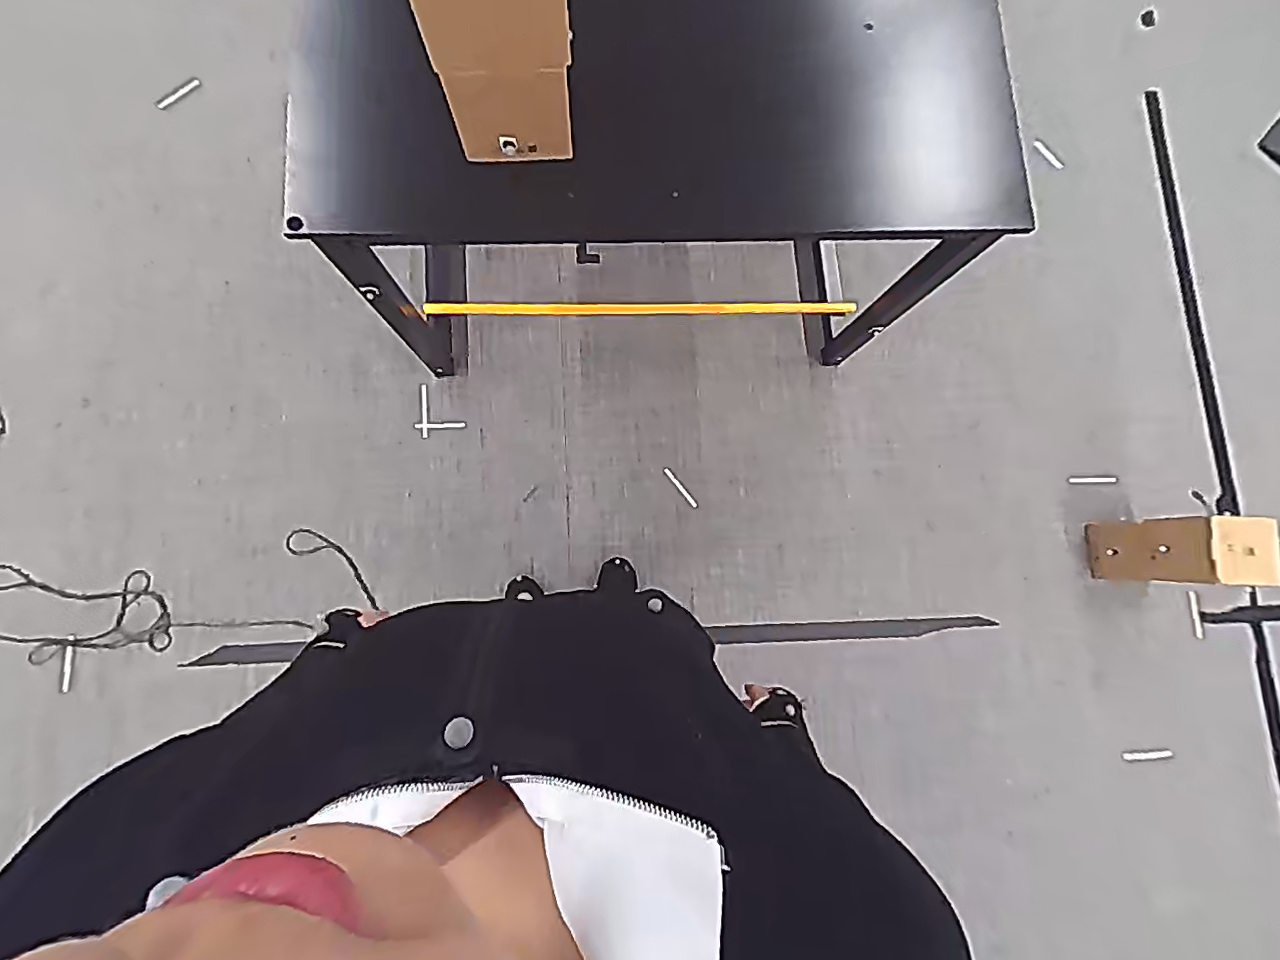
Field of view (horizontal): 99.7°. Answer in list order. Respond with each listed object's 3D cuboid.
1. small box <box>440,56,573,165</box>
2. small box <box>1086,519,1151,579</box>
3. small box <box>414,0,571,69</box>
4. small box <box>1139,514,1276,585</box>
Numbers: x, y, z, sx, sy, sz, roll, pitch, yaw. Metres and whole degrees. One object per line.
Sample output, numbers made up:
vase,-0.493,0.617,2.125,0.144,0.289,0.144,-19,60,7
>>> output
small box,-0.190,-0.599,0.788,0.168,0.176,0.179,-7,84,-4
small box,1.431,0.197,1.552,0.179,0.176,0.168,-3,83,-4
small box,-0.179,-0.617,0.625,0.179,0.176,0.168,-7,83,-5
small box,1.447,0.177,1.388,0.179,0.176,0.168,3,82,-4
